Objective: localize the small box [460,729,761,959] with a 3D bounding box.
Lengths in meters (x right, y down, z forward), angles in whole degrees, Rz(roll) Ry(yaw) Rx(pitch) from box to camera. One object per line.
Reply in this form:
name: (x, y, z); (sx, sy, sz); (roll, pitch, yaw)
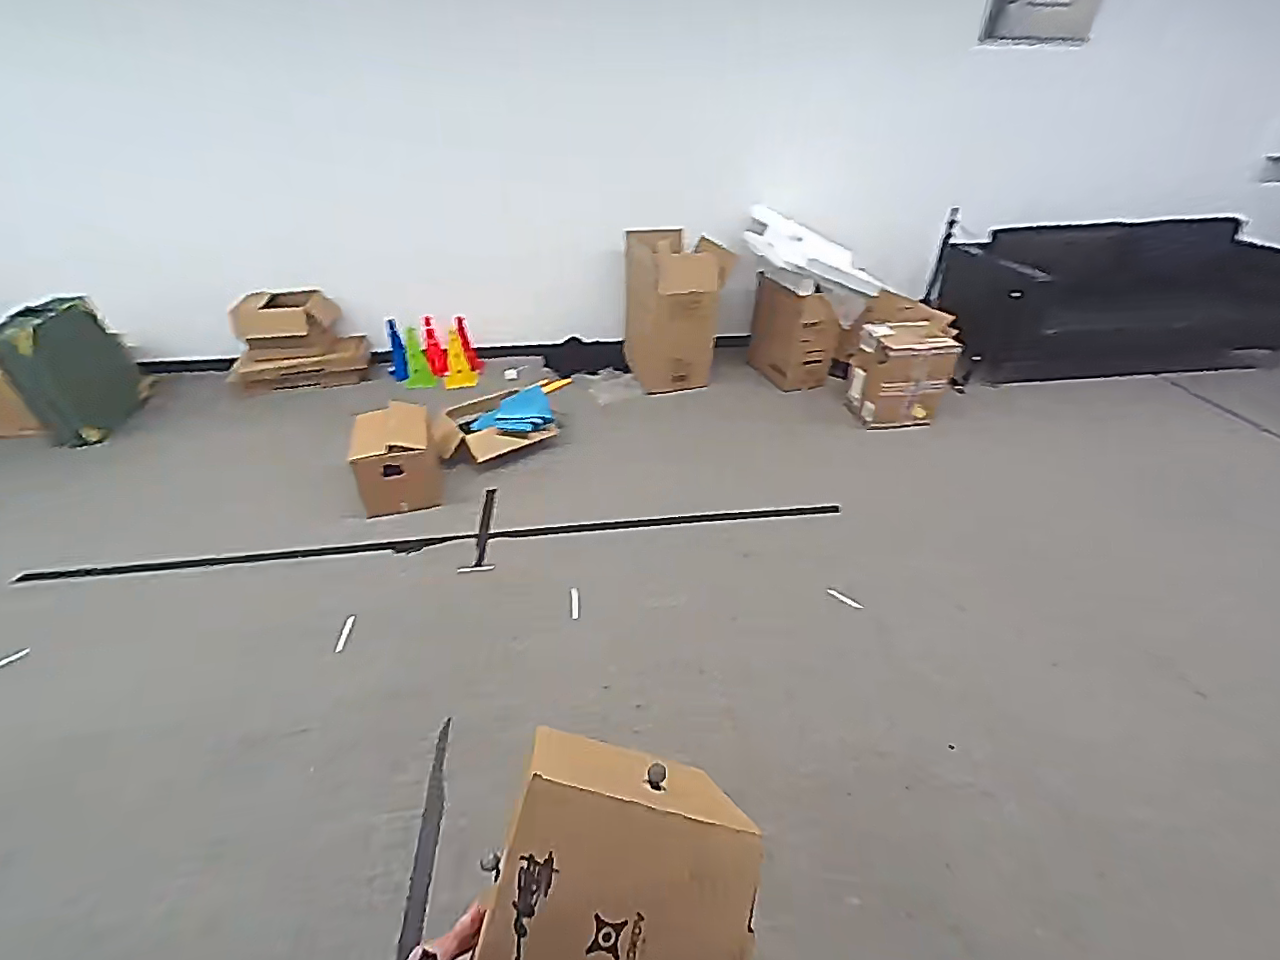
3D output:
small box: (-0.031, 0.314, 0.430); (0.179, 0.176, 0.168); (18, 72, -6)
